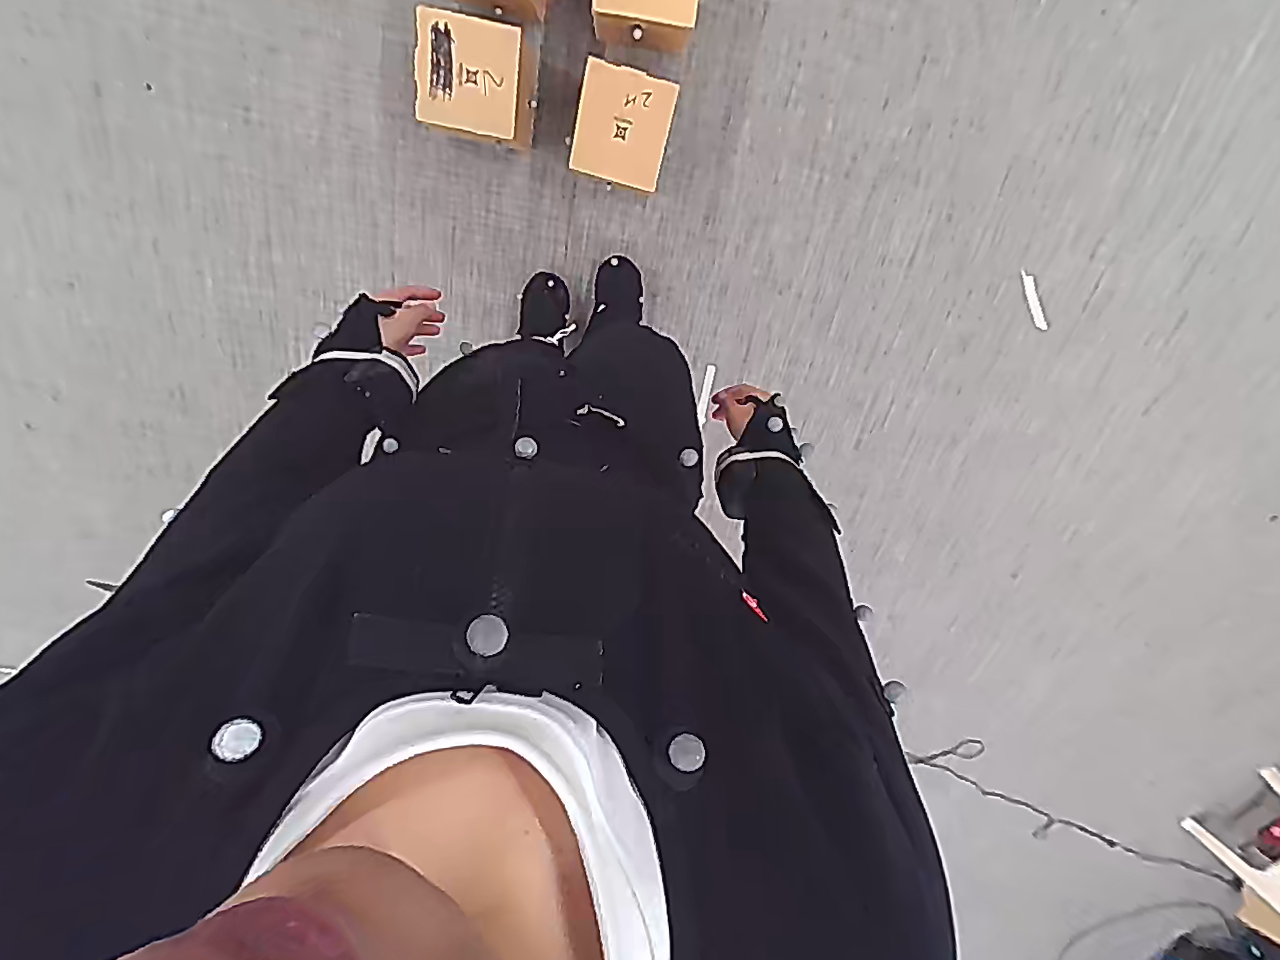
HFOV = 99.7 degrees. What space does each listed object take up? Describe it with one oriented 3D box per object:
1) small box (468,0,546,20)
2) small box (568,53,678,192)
[{"bbox_3d":[-0.249,-0.921,0.907,0.179,0.176,0.168,11,115,-6],"label":"small box"},{"bbox_3d":[-0.033,-0.667,1.035,0.168,0.176,0.179,13,115,-8],"label":"small box"}]
